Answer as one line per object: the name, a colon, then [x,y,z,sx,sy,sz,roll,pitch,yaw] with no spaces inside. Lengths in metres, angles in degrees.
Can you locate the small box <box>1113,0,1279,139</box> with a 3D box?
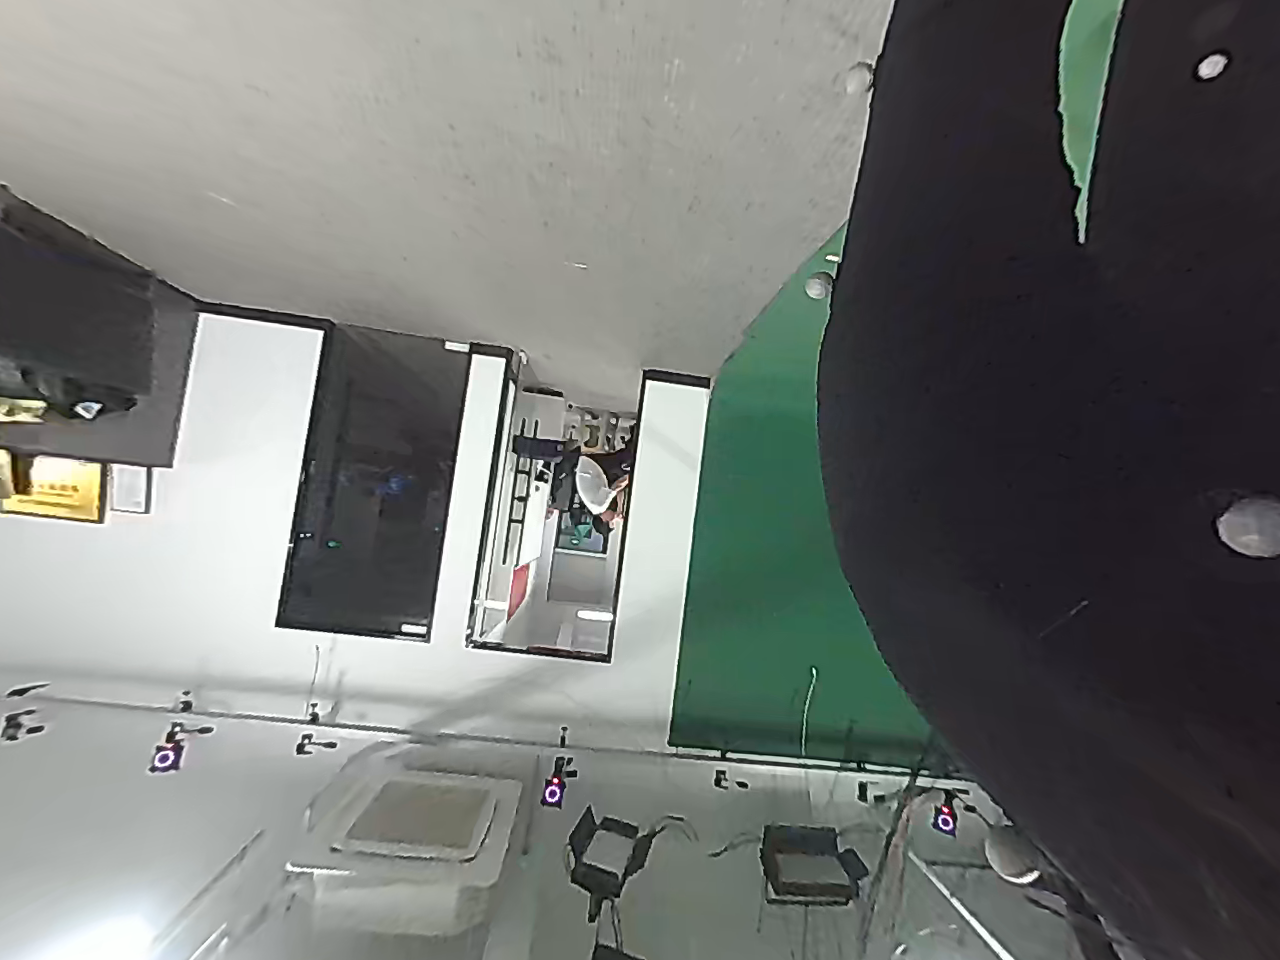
small box: [0.991,-0.757,0.953,0.168,0.176,0.179,10,177,-15]
